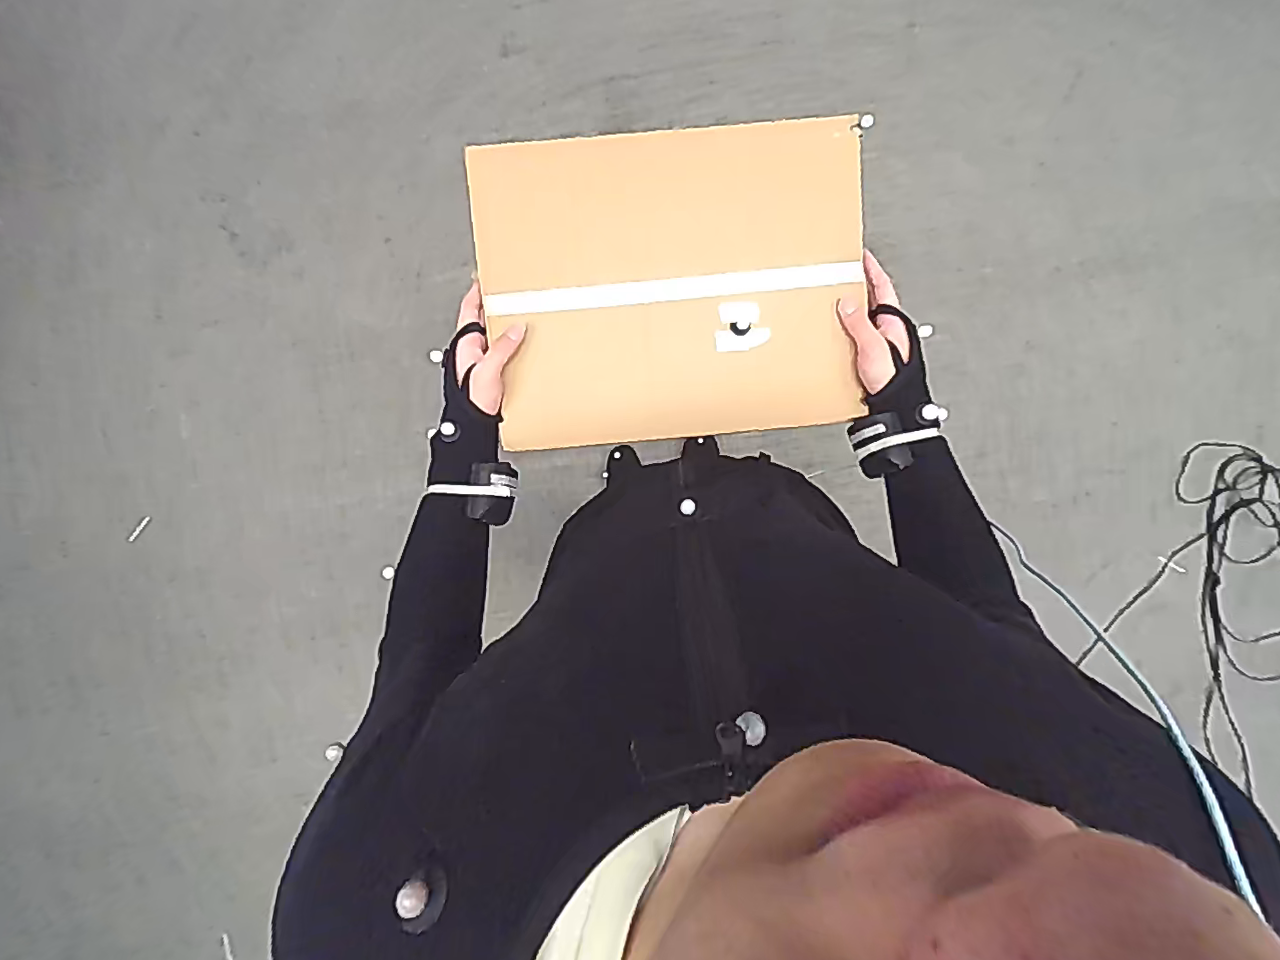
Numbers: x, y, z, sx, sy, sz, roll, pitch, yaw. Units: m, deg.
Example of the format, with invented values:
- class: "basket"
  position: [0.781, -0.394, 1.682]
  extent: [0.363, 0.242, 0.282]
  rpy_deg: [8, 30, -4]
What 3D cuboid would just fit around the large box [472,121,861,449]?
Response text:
- class: "large box"
  position: [0.029, -0.223, 0.730]
  extent: [0.408, 0.320, 0.320]
  rpy_deg: [-5, 98, -1]
